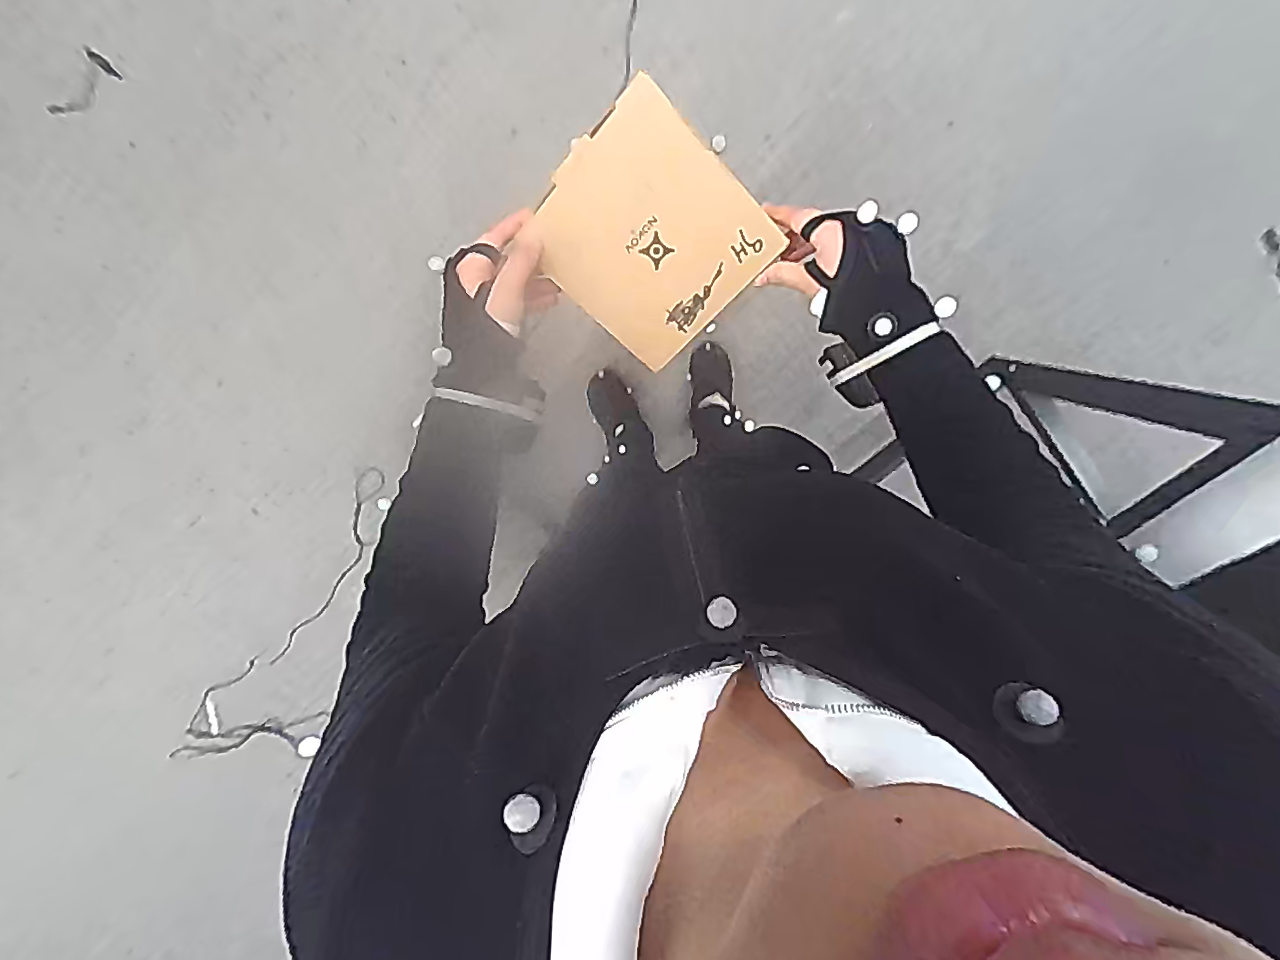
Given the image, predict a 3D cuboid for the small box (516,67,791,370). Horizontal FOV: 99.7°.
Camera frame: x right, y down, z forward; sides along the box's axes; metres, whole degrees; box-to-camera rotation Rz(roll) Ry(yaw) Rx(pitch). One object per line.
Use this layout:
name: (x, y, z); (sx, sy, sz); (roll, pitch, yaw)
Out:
small box: (0.013, -0.244, 0.521); (0.179, 0.176, 0.168); (39, 117, -21)
